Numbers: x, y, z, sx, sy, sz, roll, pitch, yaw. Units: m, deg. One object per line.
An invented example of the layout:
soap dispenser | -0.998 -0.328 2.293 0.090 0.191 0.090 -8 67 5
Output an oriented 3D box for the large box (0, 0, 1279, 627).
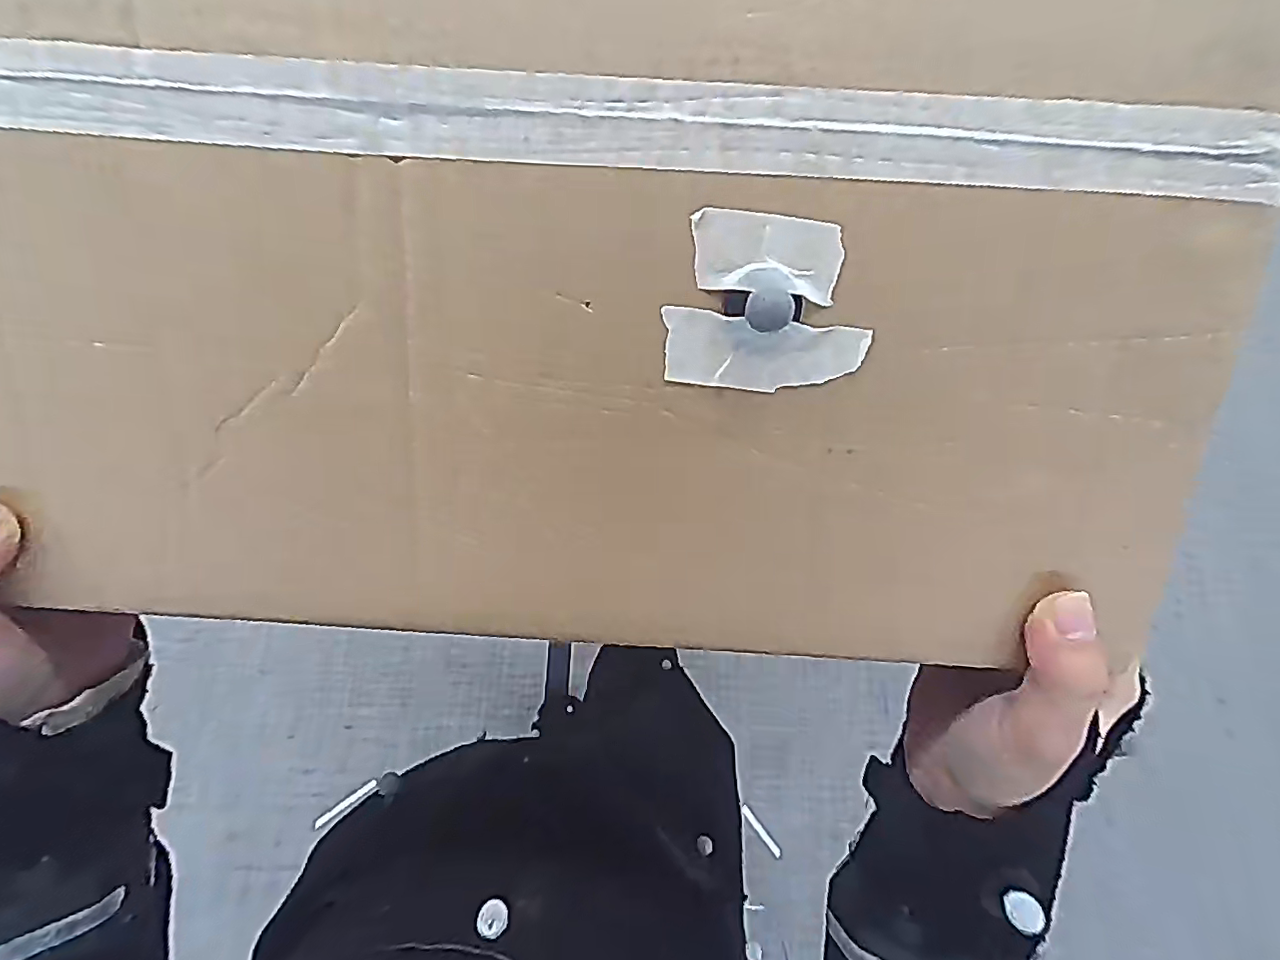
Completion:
large box | -0.024 -0.135 0.307 0.408 0.320 0.320 3 104 -1
